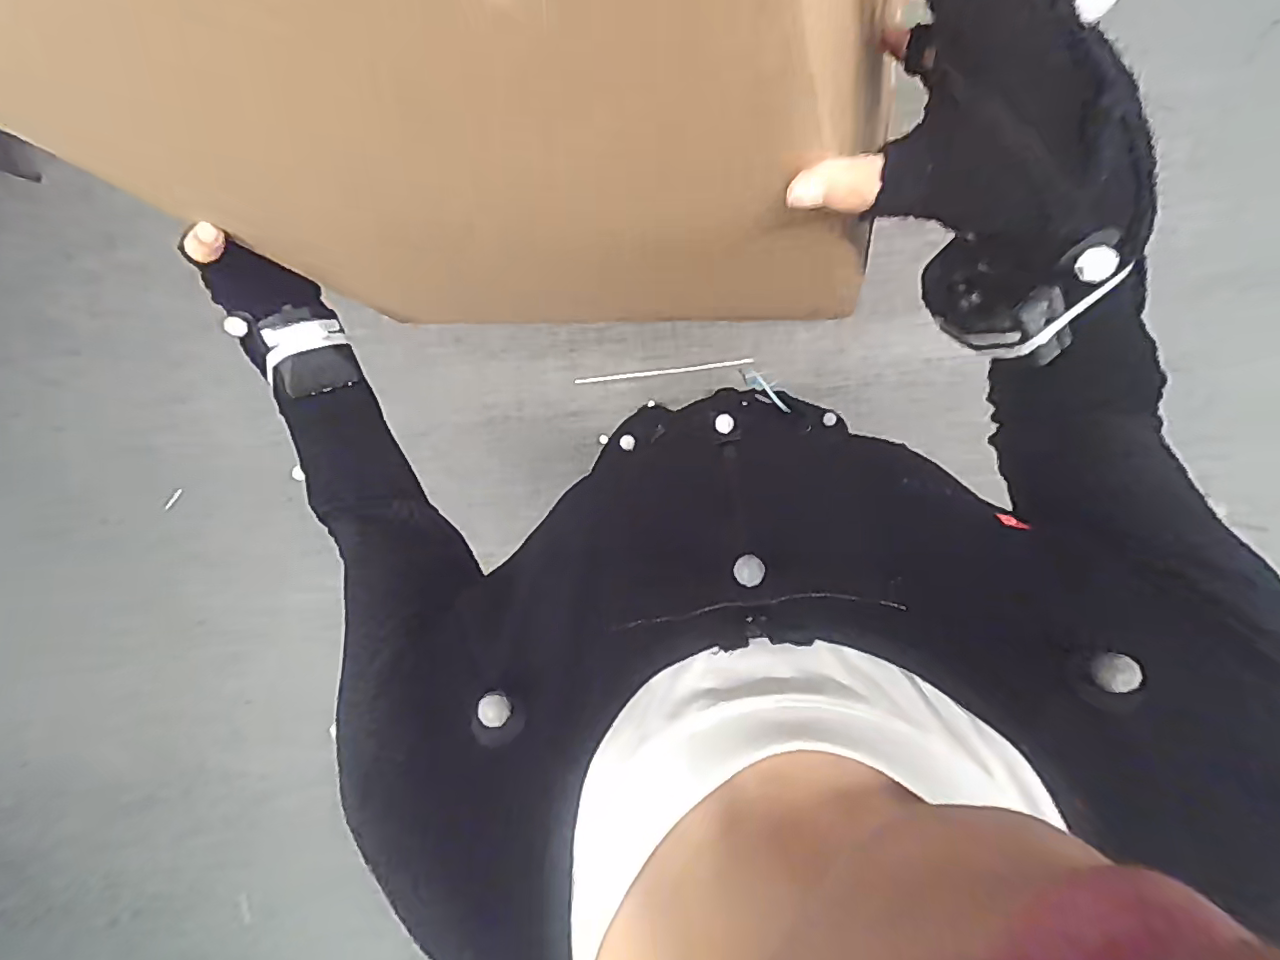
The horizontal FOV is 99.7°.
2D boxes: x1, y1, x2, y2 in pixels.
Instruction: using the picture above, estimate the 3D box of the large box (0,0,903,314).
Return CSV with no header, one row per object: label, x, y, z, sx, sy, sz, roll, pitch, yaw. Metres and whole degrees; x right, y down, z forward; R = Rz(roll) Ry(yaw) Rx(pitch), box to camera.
large box,-0.077,-0.304,0.297,0.408,0.320,0.320,7,85,25
